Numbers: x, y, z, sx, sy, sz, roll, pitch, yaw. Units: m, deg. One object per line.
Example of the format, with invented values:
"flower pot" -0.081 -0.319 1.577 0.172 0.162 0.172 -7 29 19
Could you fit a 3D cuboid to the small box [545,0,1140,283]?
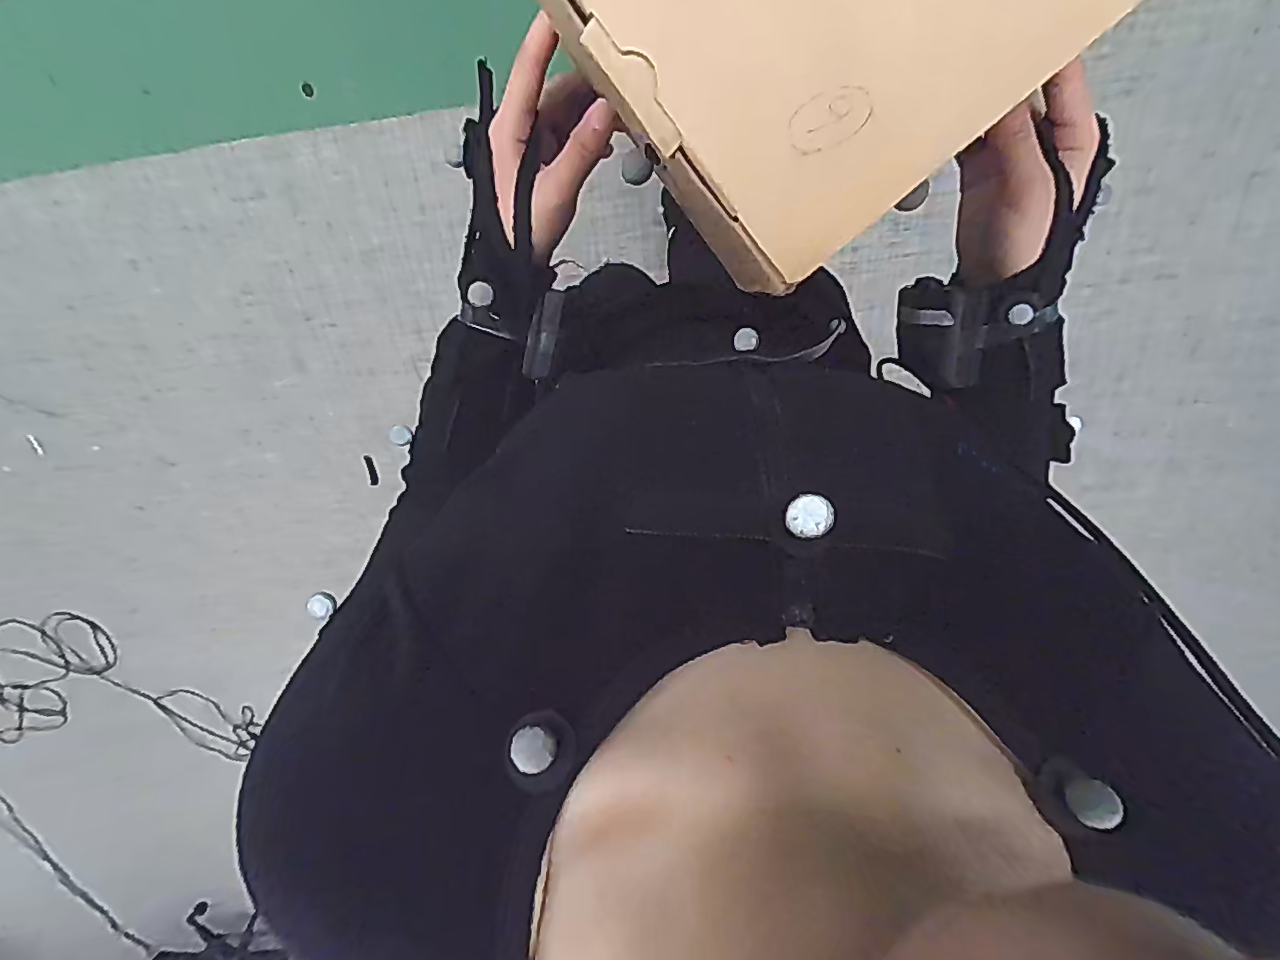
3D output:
"small box" 0.071 -0.201 0.224 0.179 0.176 0.168 -37 101 17
